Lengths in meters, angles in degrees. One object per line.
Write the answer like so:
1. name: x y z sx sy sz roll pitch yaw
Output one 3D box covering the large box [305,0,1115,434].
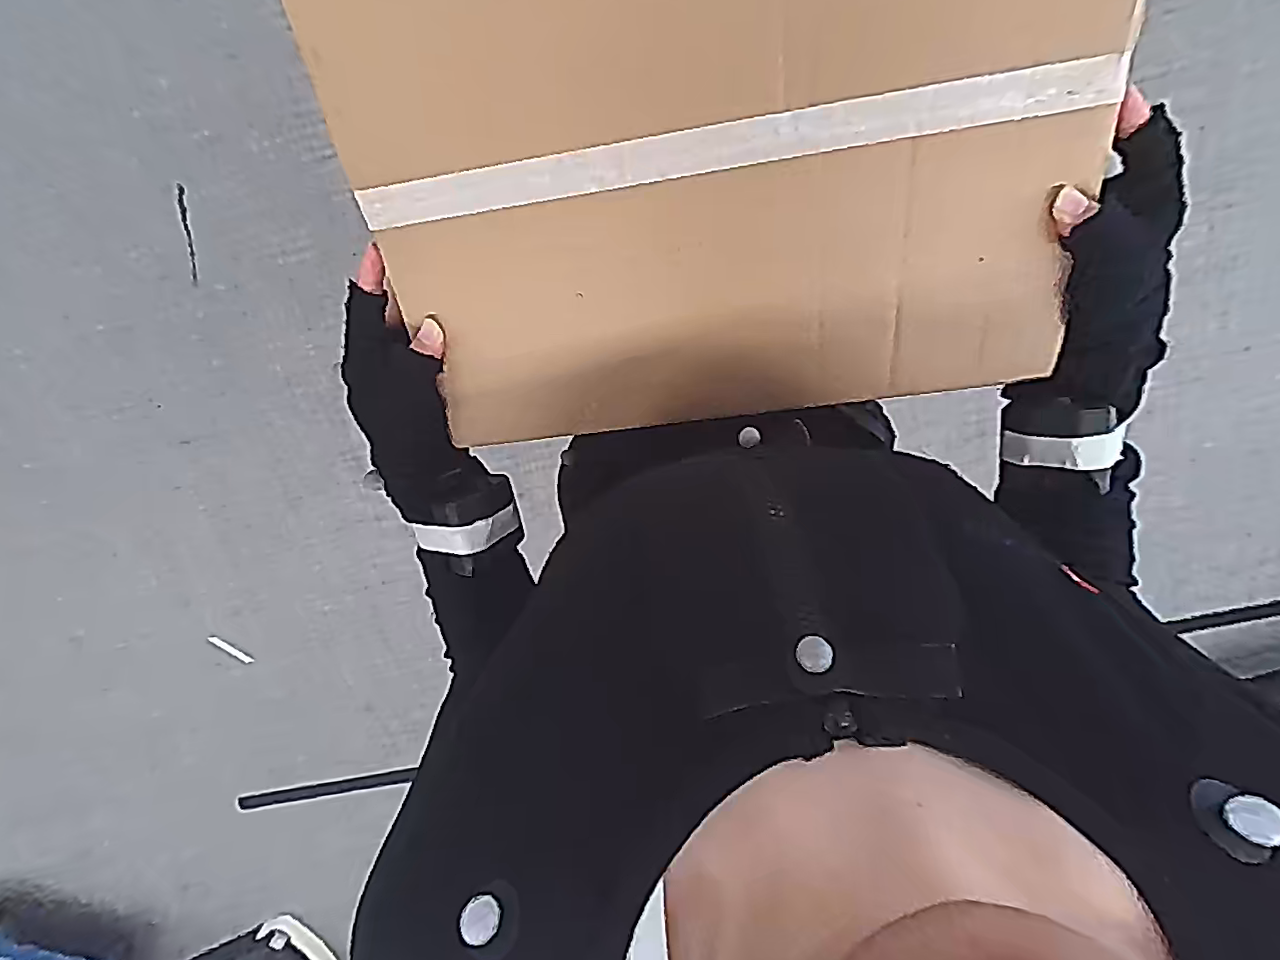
1. large box: 0.043 -0.261 0.429 0.408 0.320 0.320 -6 122 6
